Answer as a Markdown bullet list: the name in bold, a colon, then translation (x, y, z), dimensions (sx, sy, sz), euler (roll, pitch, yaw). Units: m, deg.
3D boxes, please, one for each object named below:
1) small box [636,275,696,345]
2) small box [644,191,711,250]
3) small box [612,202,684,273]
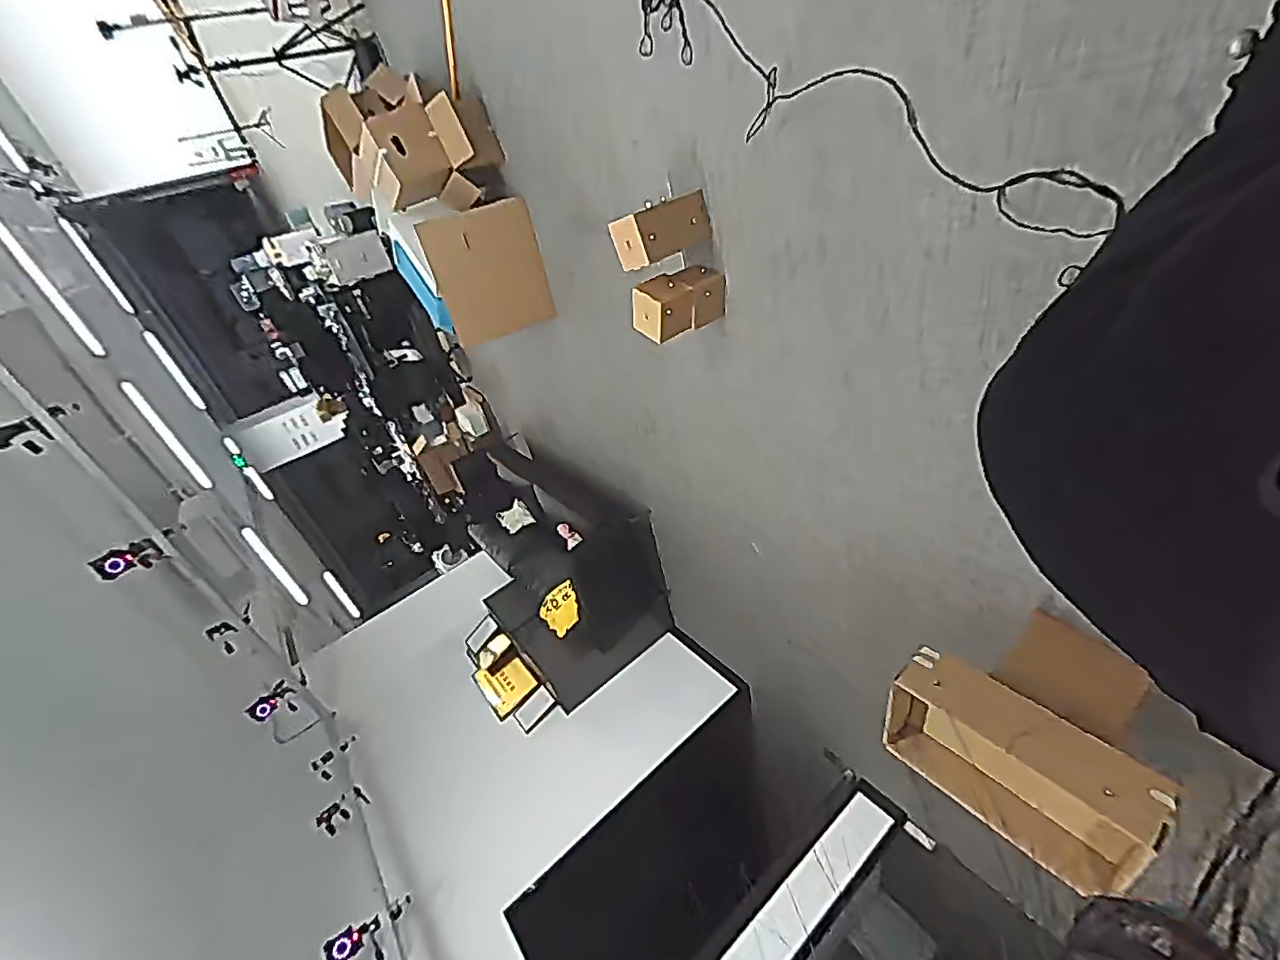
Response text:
- **small box**: translation (0.100, -0.661, 2.092), dimensions (0.168, 0.176, 0.179), euler (42, 150, 32)
- **small box**: translation (0.148, -0.965, 2.029), dimensions (0.179, 0.176, 0.168), euler (23, 139, 52)
- **small box**: translation (0.033, -0.875, 1.956), dimensions (0.168, 0.176, 0.179), euler (16, 134, 54)
